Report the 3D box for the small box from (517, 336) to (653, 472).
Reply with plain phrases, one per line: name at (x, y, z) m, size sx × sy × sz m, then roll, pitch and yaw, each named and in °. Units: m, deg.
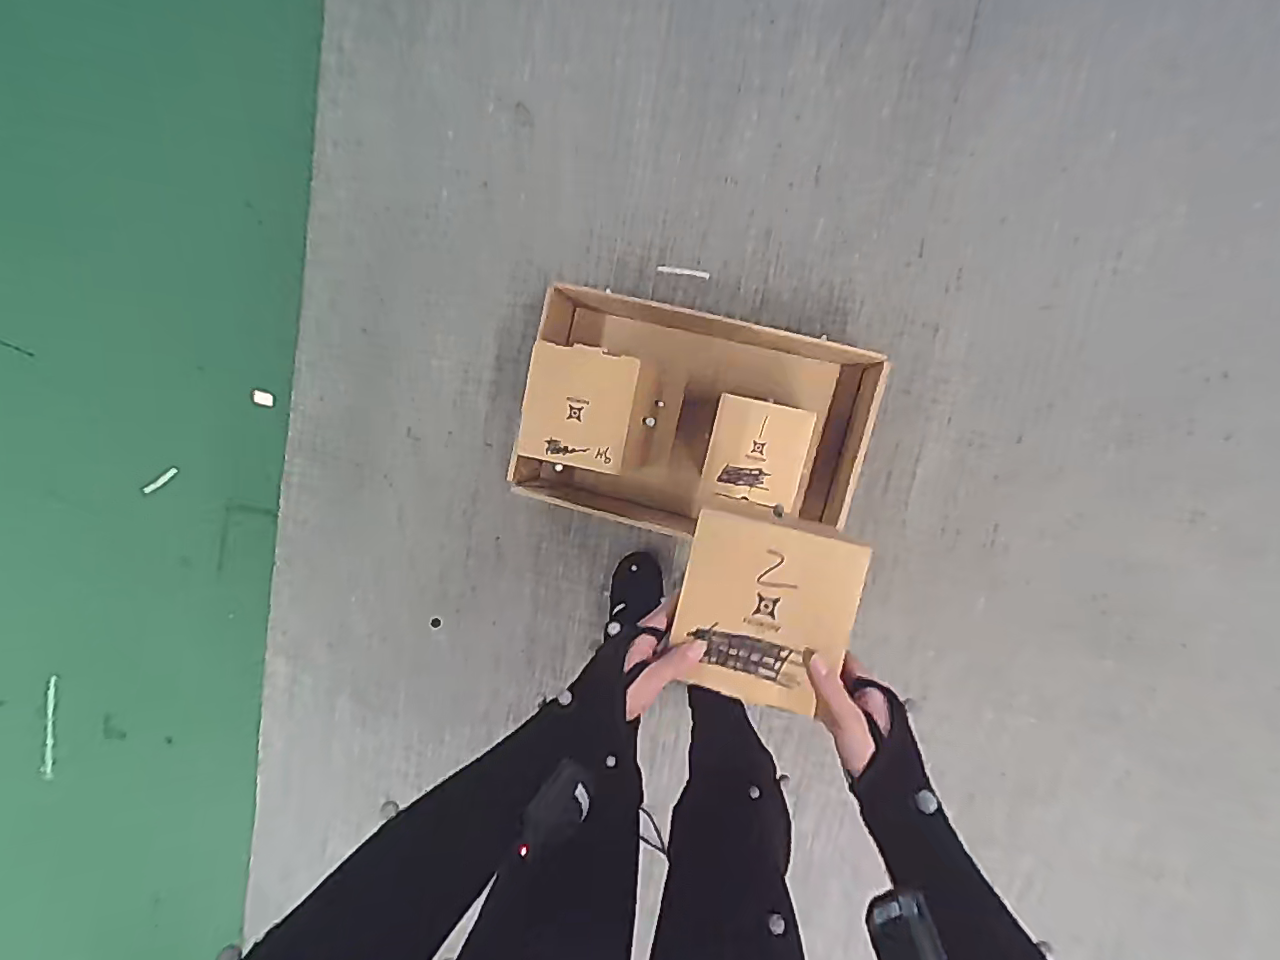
small box at (-0.079, -0.117, 0.873) m, size 0.168 × 0.176 × 0.179 m, roll 12°, pitch 96°, yaw 8°
